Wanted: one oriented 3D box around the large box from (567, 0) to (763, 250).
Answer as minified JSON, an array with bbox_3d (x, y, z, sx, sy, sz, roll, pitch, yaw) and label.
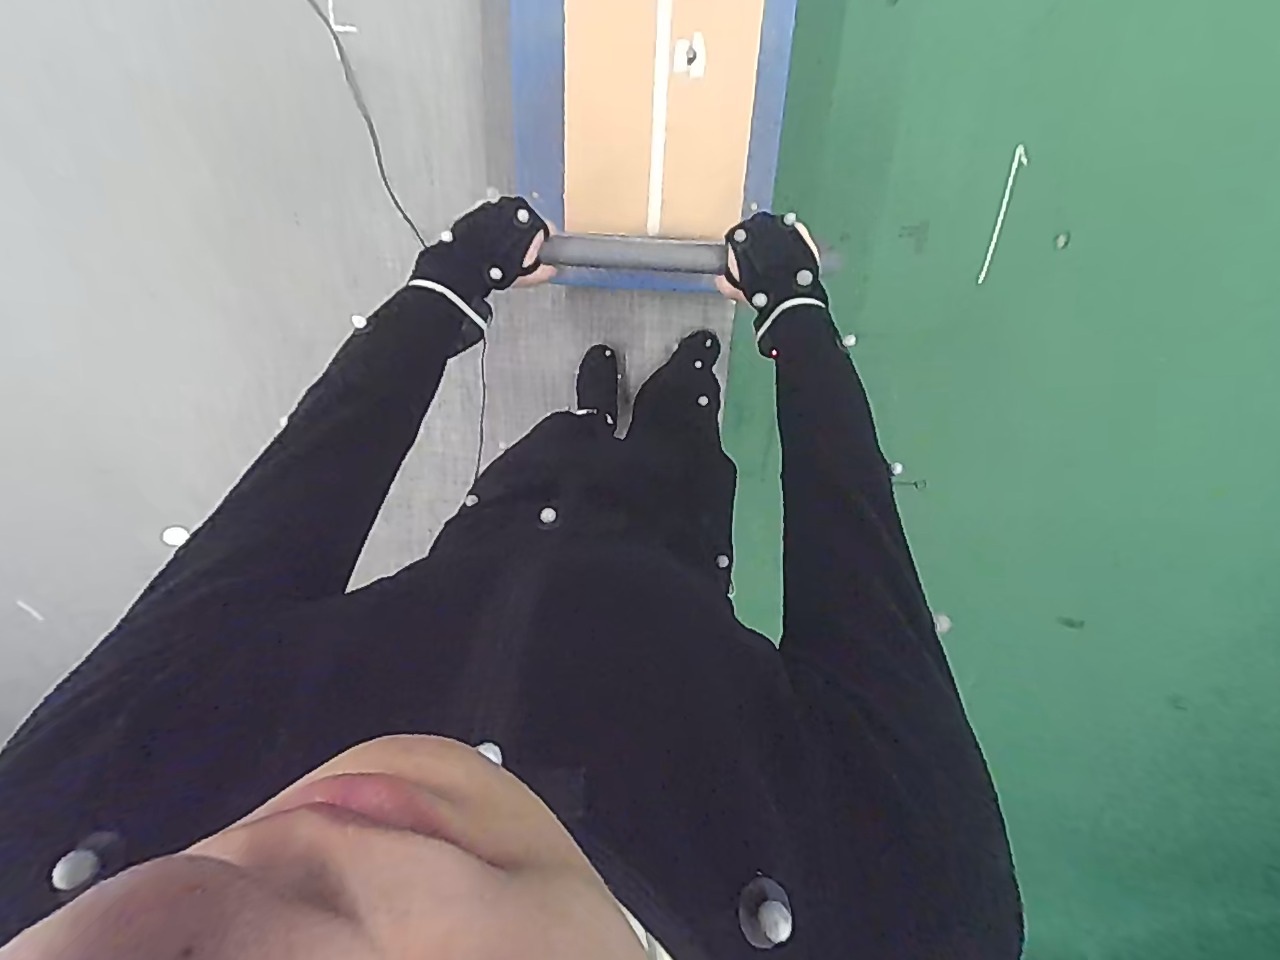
[{"bbox_3d":[0.037,-0.669,1.038,0.320,0.320,0.408,3,110,-1],"label":"large box"}]
